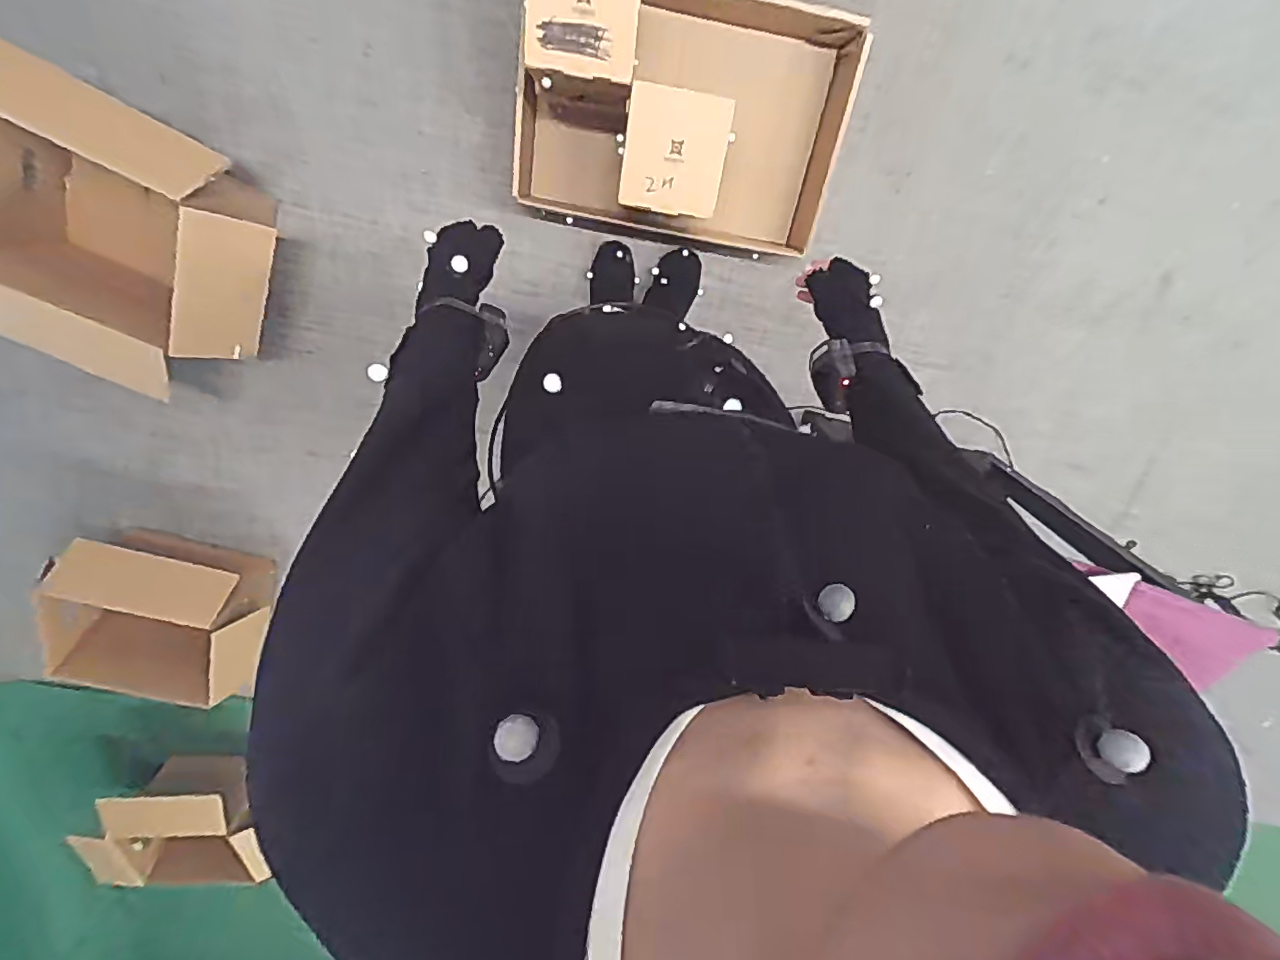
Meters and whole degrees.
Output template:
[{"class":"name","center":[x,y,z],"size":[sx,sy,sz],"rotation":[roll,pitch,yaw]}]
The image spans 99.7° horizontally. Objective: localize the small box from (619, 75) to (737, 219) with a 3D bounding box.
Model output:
[{"class":"small box","center":[0.055,-0.565,0.938],"size":[0.168,0.176,0.179],"rotation":[7,117,-6]}]
